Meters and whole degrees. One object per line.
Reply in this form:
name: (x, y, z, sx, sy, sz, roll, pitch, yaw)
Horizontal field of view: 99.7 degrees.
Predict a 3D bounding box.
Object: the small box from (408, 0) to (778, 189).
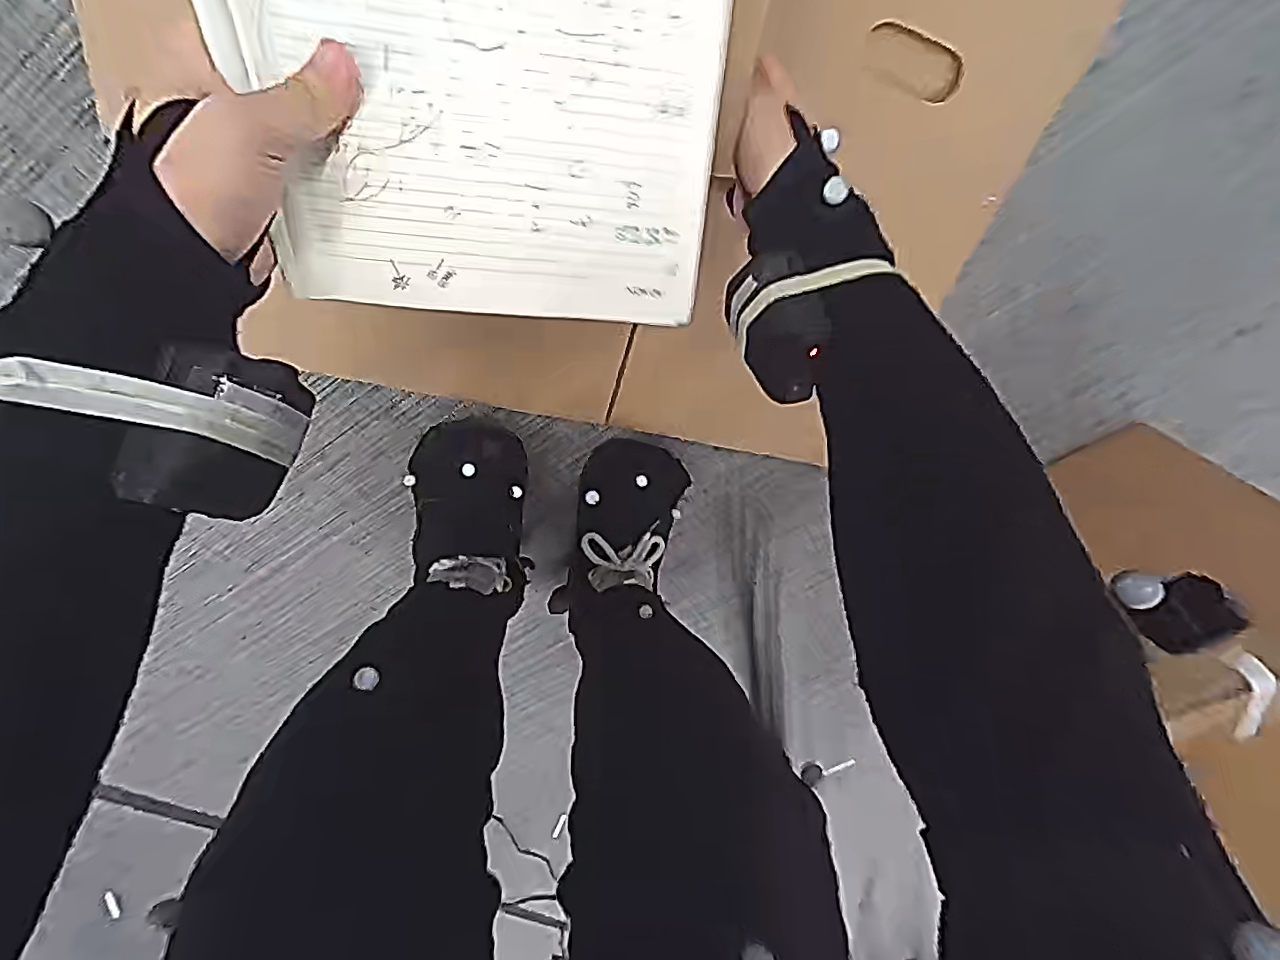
small box: (-0.025, -0.282, 0.292, 0.168, 0.176, 0.179, 4, 127, -12)
